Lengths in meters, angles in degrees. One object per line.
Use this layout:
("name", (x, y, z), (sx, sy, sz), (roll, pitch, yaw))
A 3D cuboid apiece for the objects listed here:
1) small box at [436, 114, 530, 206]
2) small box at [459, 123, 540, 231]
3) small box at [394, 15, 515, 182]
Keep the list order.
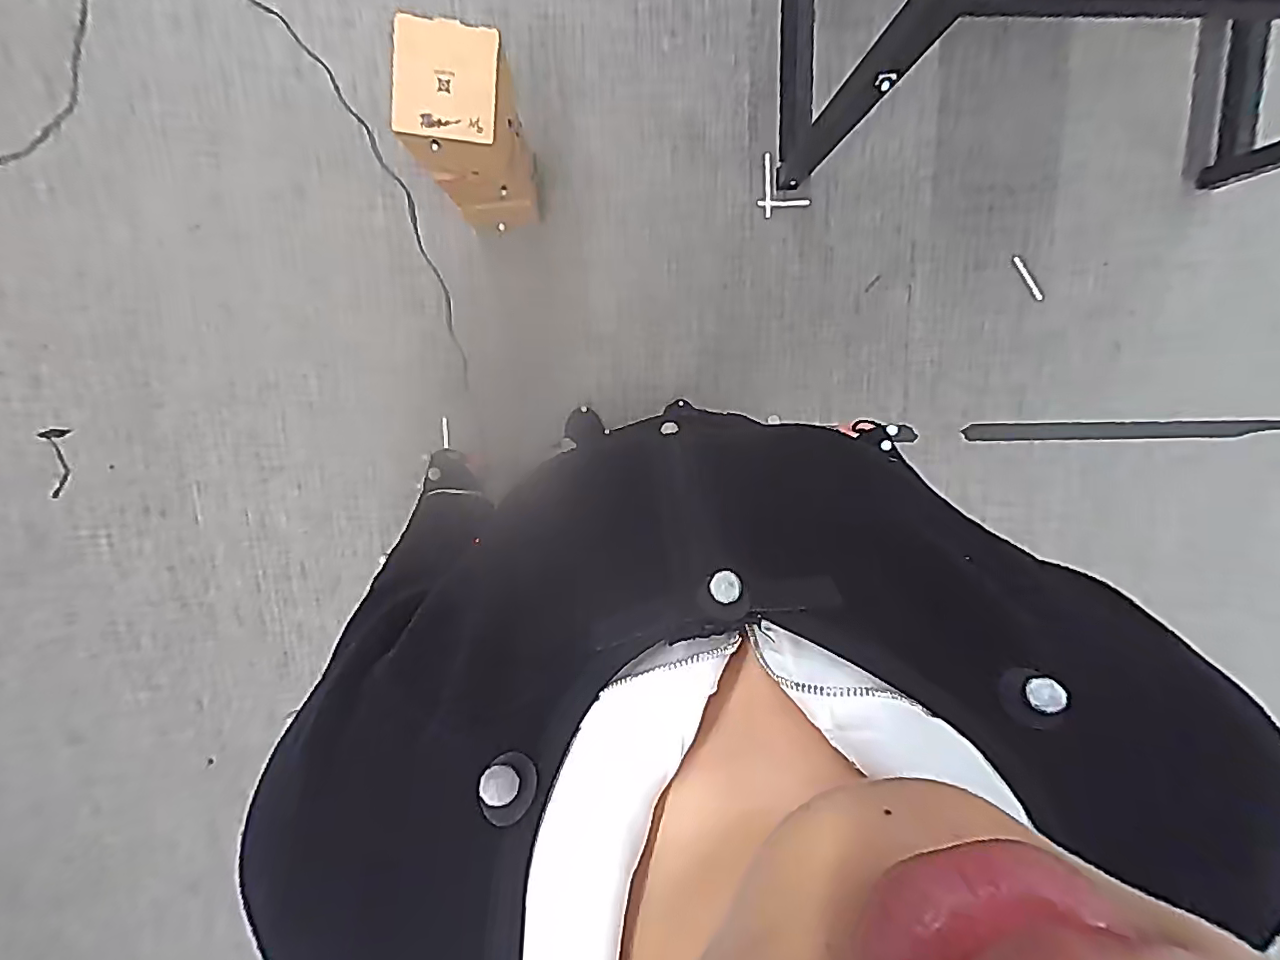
("small box", (-0.332, -0.690, 1.123), (0.168, 0.176, 0.179), (-9, 98, -2))
("small box", (-0.337, -0.711, 1.284), (0.168, 0.176, 0.179), (-5, 101, -2))
("small box", (-0.320, -0.663, 0.961), (0.168, 0.176, 0.179), (5, 98, -4))
